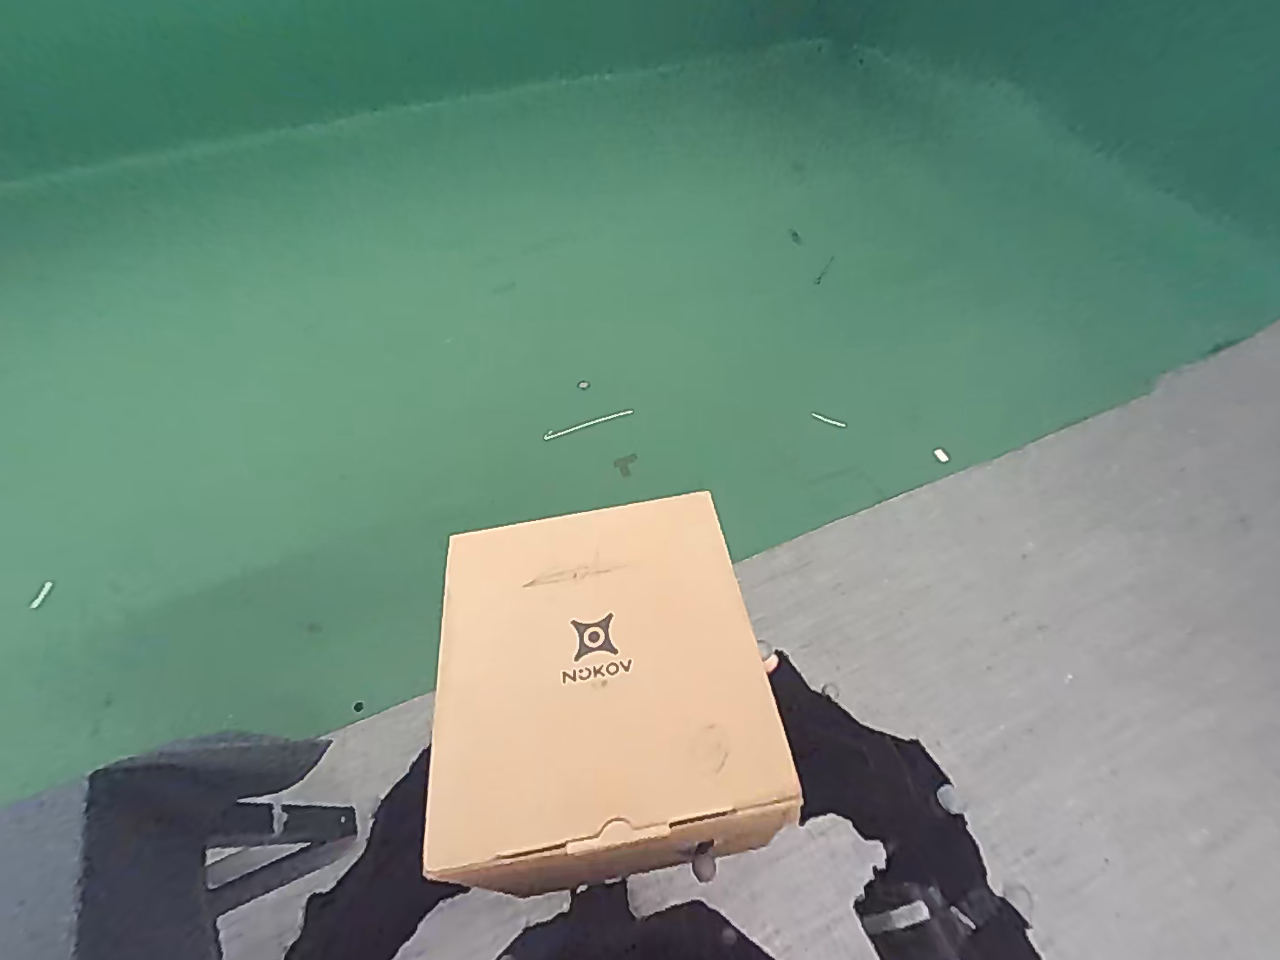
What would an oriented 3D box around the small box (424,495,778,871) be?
[{"bbox_3d":[-0.021,0.138,0.353,0.168,0.176,0.179,-9,50,-2],"label":"small box"}]
